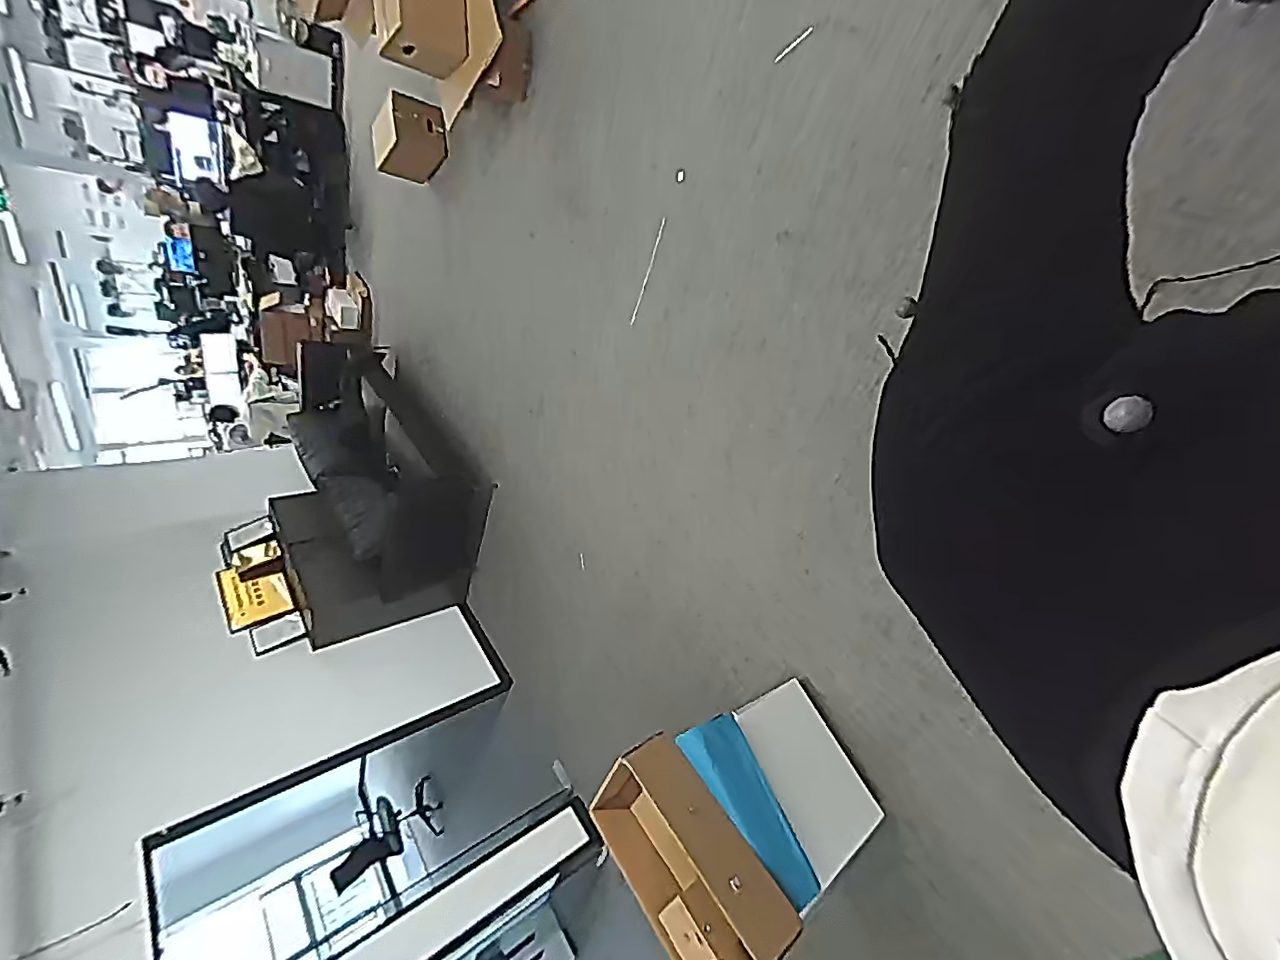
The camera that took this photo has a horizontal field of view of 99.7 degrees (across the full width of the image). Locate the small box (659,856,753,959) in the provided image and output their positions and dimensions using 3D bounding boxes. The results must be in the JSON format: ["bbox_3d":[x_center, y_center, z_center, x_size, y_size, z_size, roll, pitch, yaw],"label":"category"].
[{"bbox_3d":[0.186,1.211,1.518,0.168,0.176,0.179,47,132,32],"label":"small box"}]
